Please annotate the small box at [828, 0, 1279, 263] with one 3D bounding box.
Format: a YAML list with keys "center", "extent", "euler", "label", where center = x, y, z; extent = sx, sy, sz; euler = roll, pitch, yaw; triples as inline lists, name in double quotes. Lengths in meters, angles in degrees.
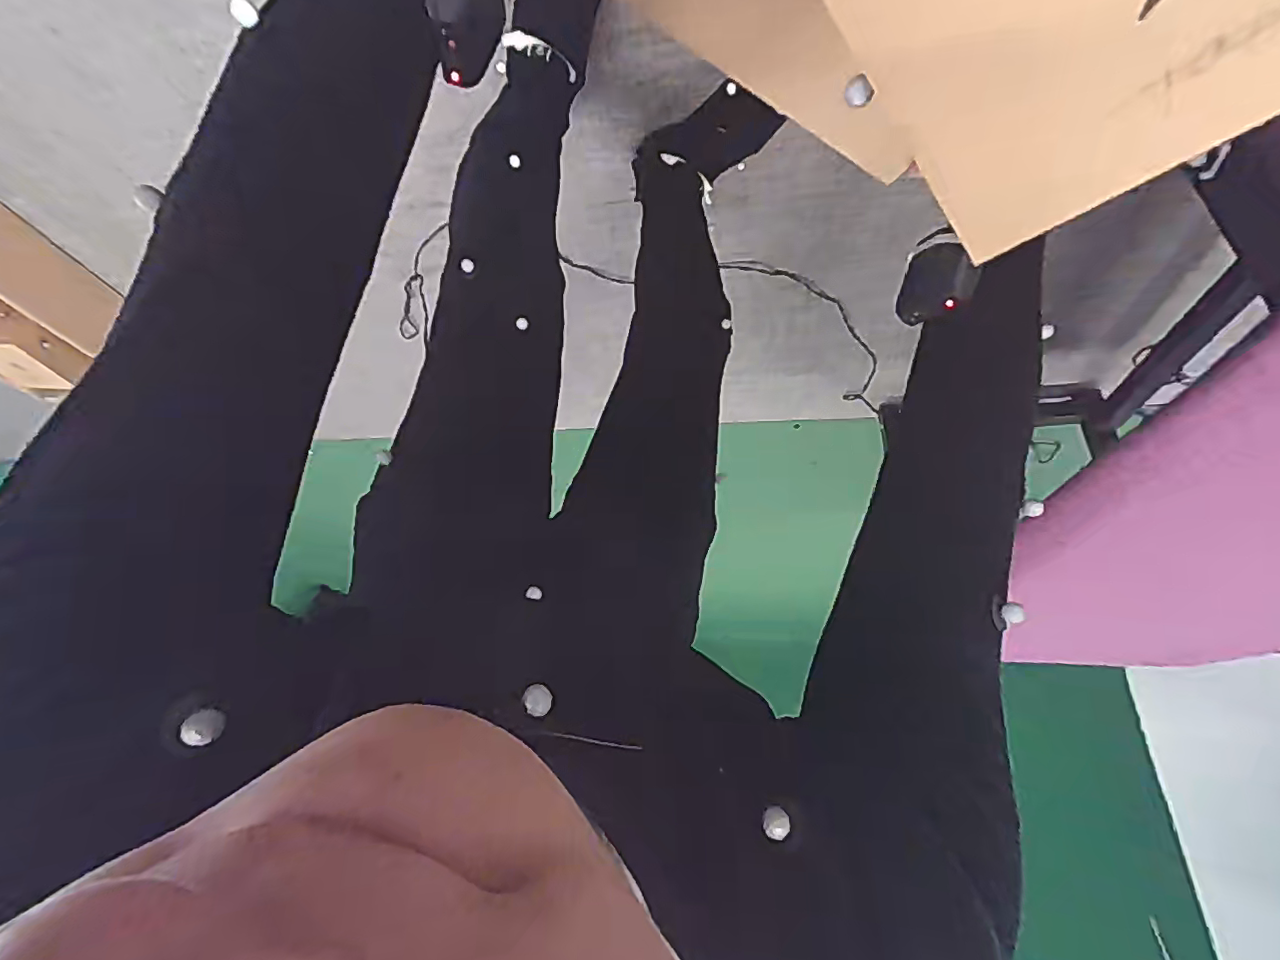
- center: [0.159, -0.228, 0.192]
  extent: [0.168, 0.176, 0.179]
  euler: [-22, 144, 40]
  label: "small box"
